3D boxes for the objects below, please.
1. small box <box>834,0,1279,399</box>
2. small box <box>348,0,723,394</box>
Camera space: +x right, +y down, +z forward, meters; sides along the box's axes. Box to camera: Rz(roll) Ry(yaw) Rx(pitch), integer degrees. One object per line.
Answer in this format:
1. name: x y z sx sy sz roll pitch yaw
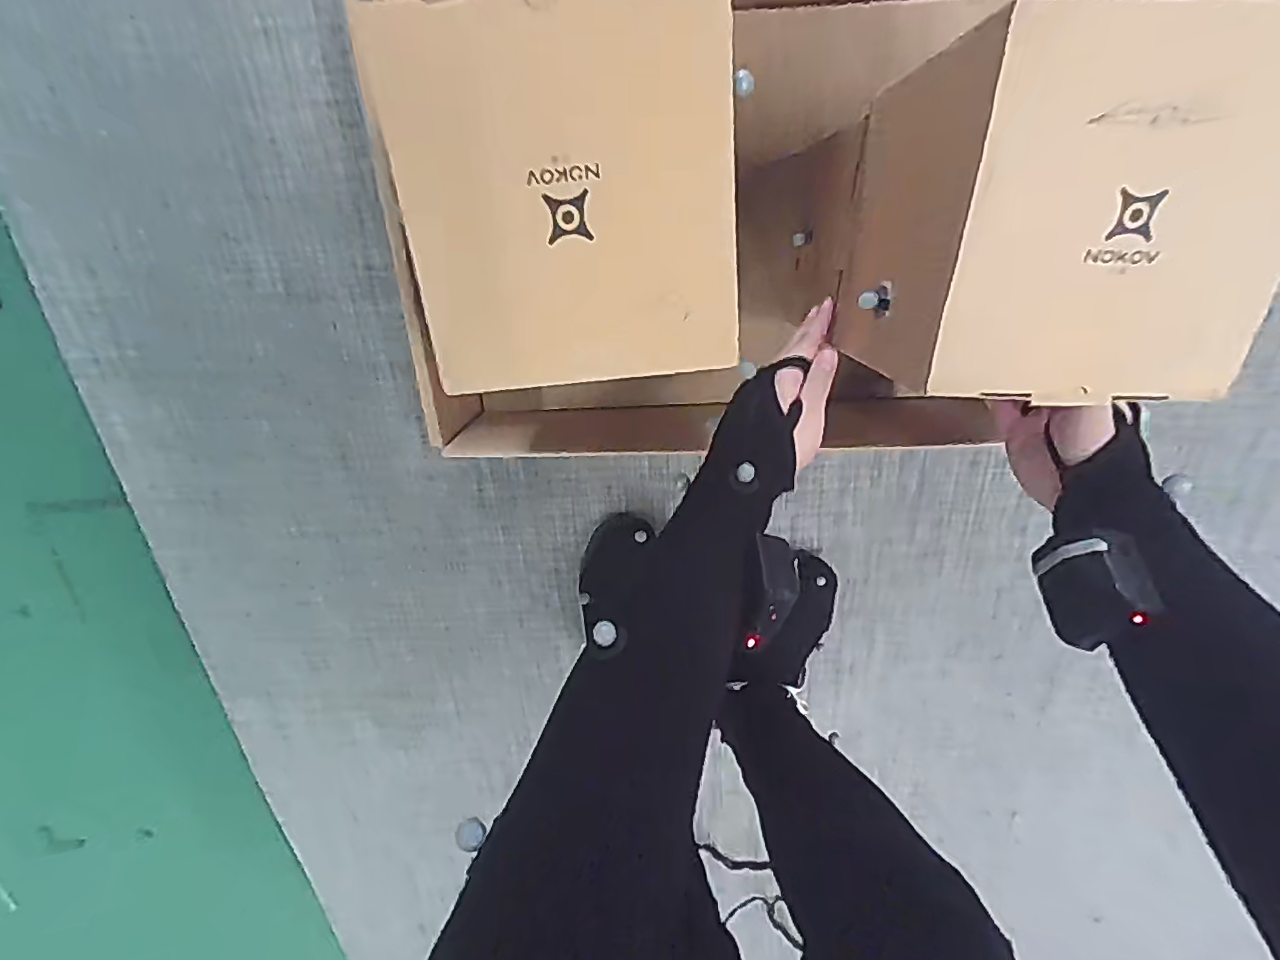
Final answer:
1. small box: 0.233 -0.158 0.335 0.168 0.176 0.179 1 113 1
2. small box: -0.040 -0.166 0.343 0.168 0.176 0.179 -6 112 4
